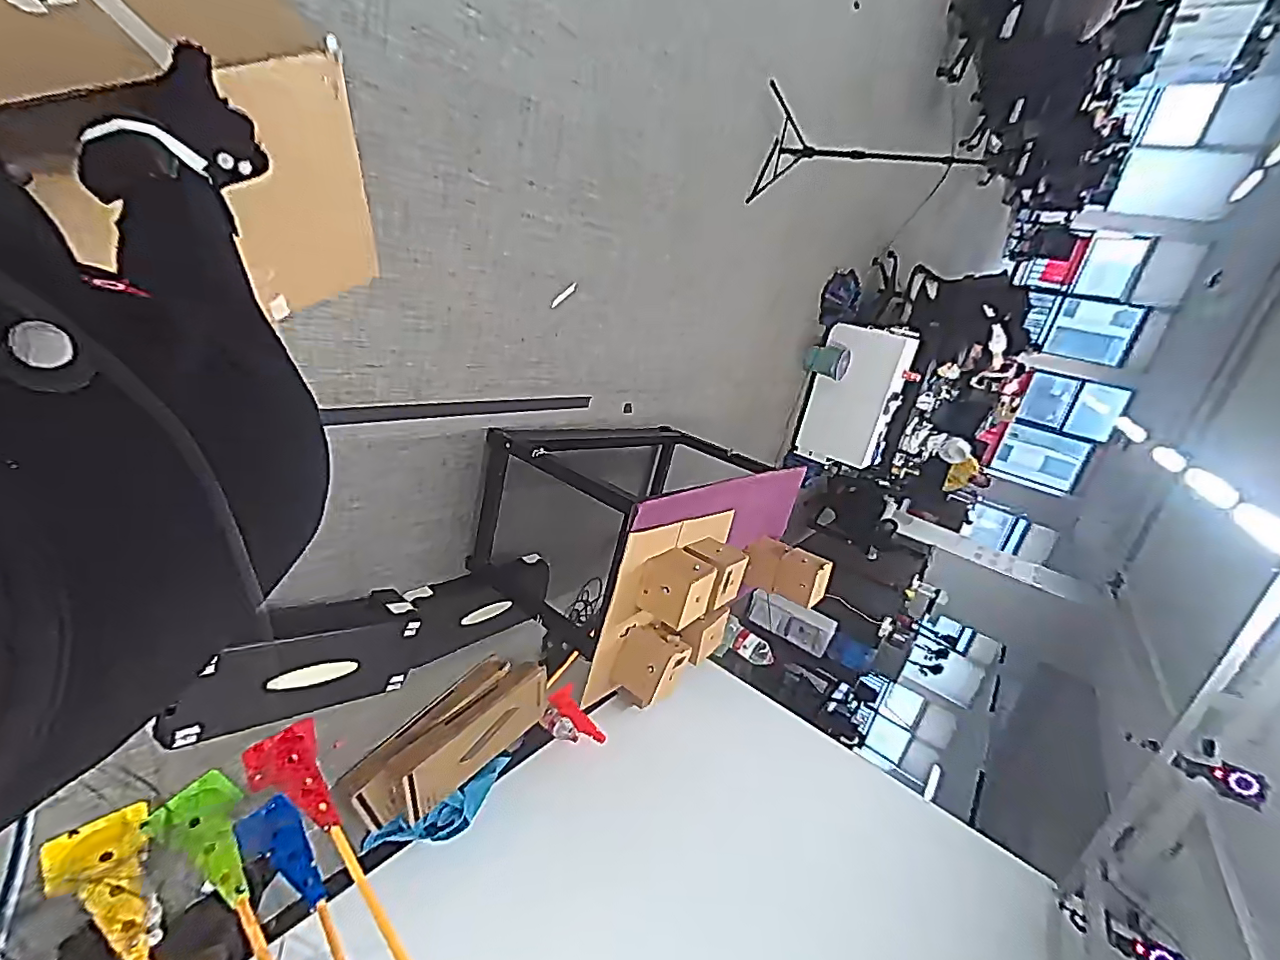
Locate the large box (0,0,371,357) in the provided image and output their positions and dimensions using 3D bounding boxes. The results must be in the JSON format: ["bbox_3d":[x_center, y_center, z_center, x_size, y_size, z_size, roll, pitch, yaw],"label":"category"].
[{"bbox_3d":[-0.606,-0.435,0.646,0.320,0.408,0.320,-44,174,-28],"label":"large box"}]
